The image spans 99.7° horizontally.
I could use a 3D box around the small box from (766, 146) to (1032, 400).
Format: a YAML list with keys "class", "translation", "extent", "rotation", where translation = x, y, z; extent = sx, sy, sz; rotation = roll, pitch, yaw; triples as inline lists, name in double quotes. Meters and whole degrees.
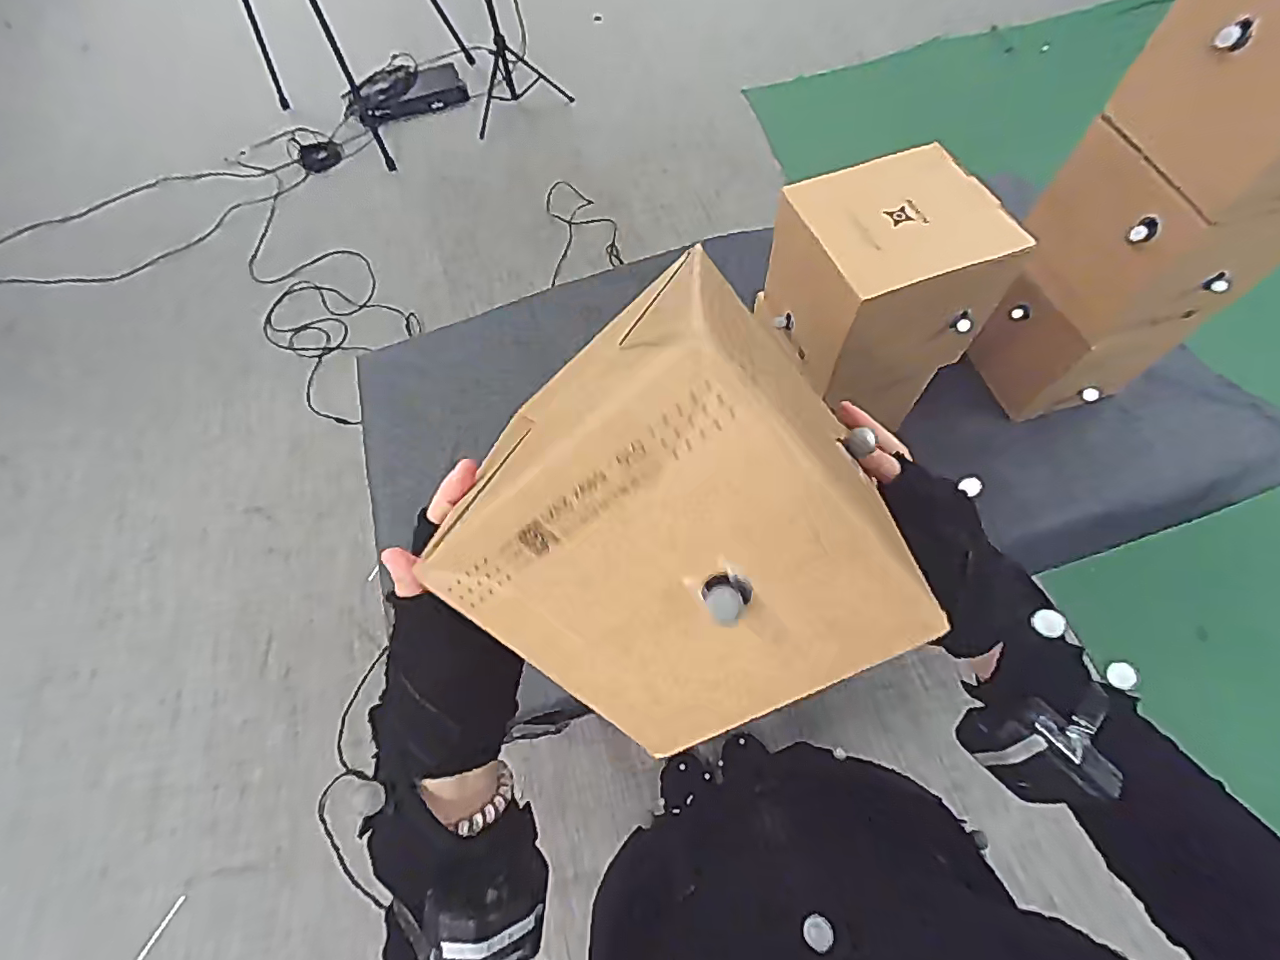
- class: "small box"
  translation: [0.256, -0.215, 0.588]
  extent: [0.179, 0.176, 0.168]
  rotation: [-18, 63, -4]

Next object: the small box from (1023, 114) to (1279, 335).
- class: "small box"
  translation: [0.570, -0.281, 0.591]
  extent: [0.168, 0.176, 0.179]
  rotation: [-14, 64, -2]

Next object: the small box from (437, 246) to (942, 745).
- class: "small box"
  translation: [0.021, 0.004, 0.301]
  extent: [0.168, 0.176, 0.179]
  rotation: [-36, 25, 25]
